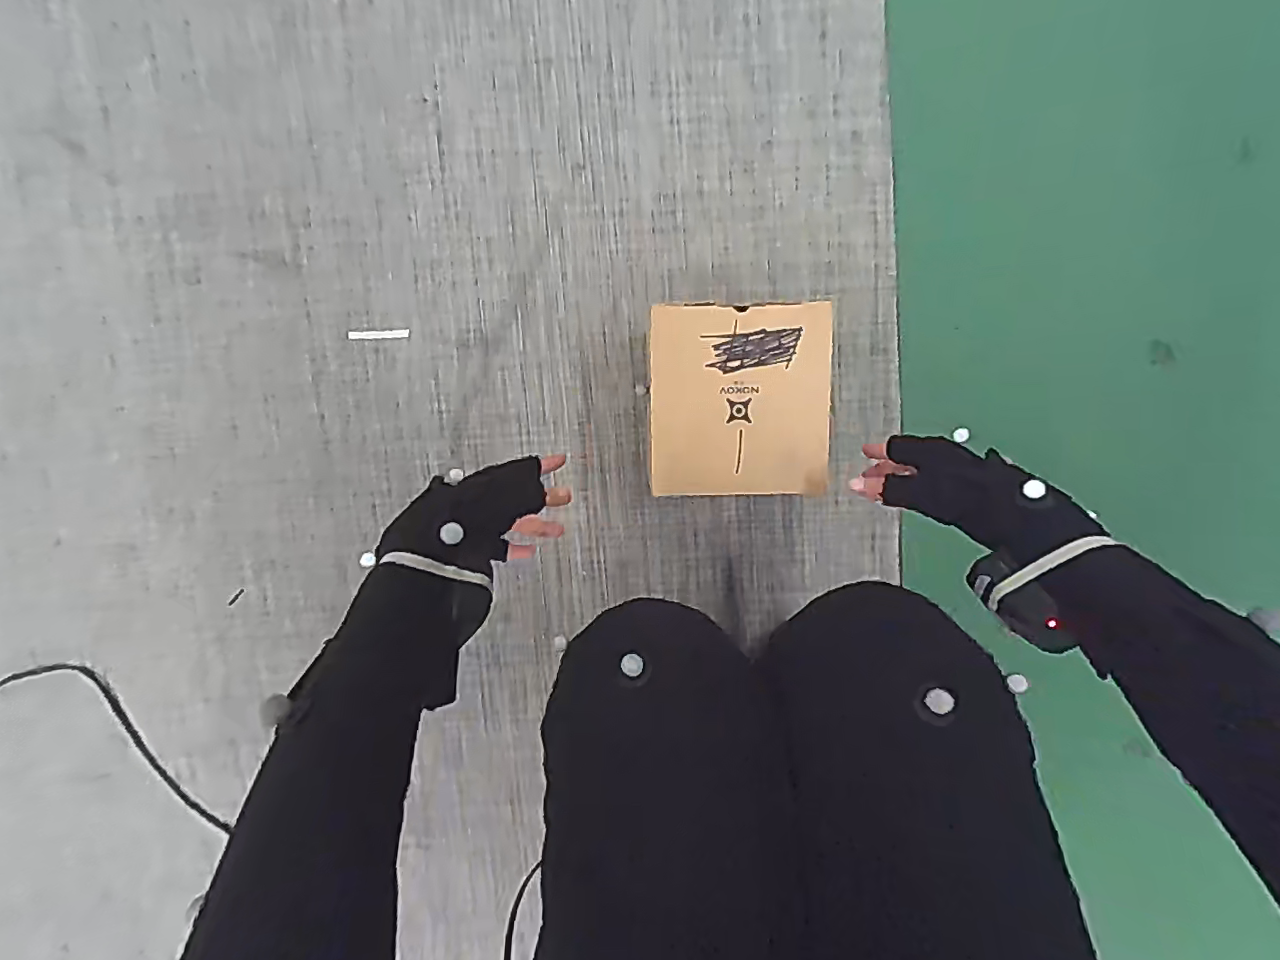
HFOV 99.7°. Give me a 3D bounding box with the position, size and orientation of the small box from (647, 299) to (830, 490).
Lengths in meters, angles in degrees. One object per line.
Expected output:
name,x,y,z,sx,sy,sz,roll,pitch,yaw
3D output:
small box,0.091,-0.087,0.578,0.168,0.176,0.179,-1,98,0
